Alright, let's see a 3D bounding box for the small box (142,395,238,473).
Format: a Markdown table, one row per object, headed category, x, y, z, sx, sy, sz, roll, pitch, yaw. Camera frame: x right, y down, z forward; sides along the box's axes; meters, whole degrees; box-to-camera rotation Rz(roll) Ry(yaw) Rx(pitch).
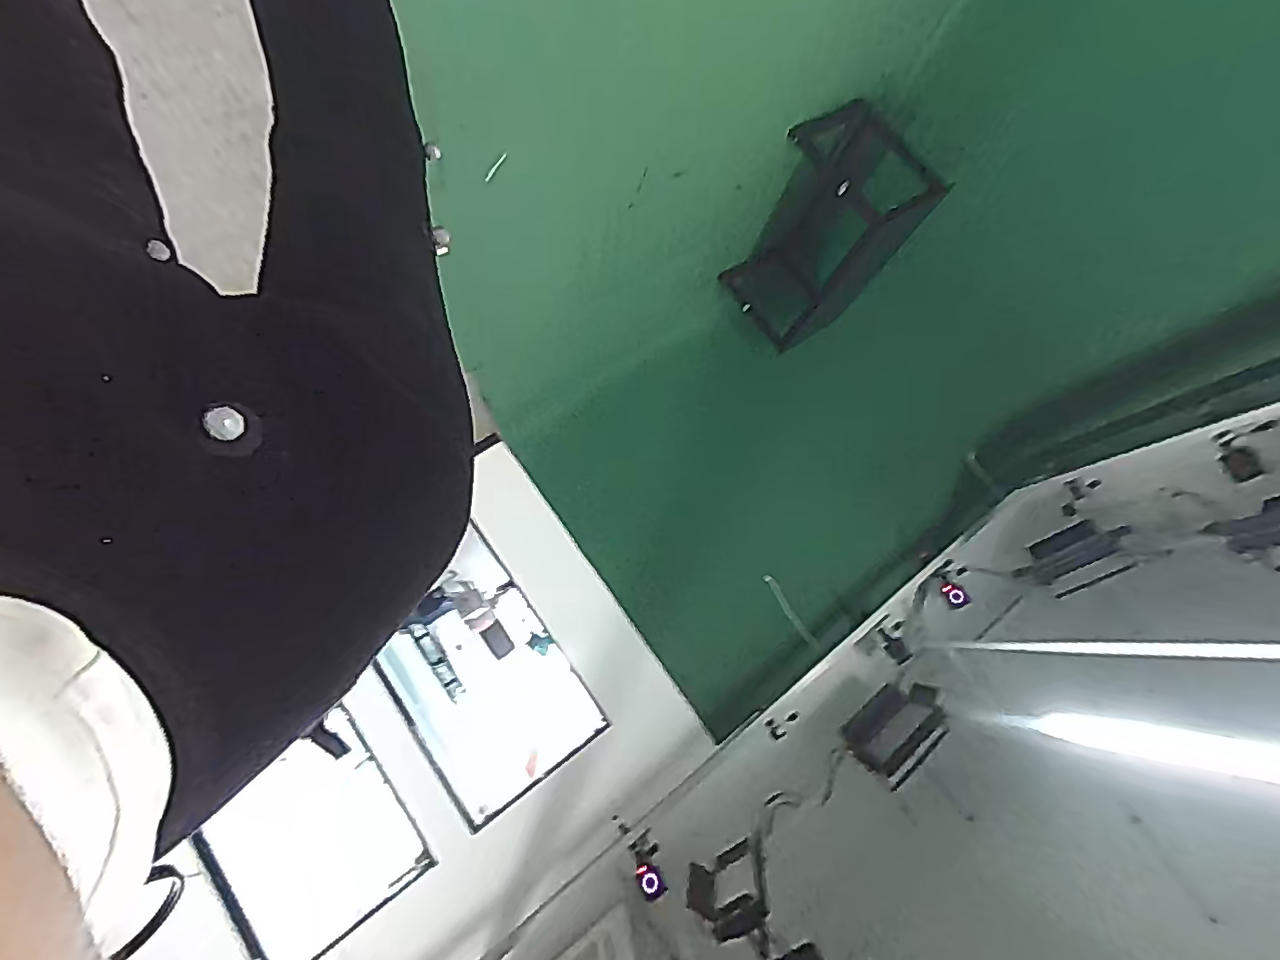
| category | x | y | z | sx | sy | sz | roll | pitch | yaw |
| --- | --- | --- | --- | --- | --- | --- | --- | --- | --- |
| small box | -1.540 | -0.156 | 1.844 | 0.179 | 0.176 | 0.168 | -35 | 170 | -12 |
